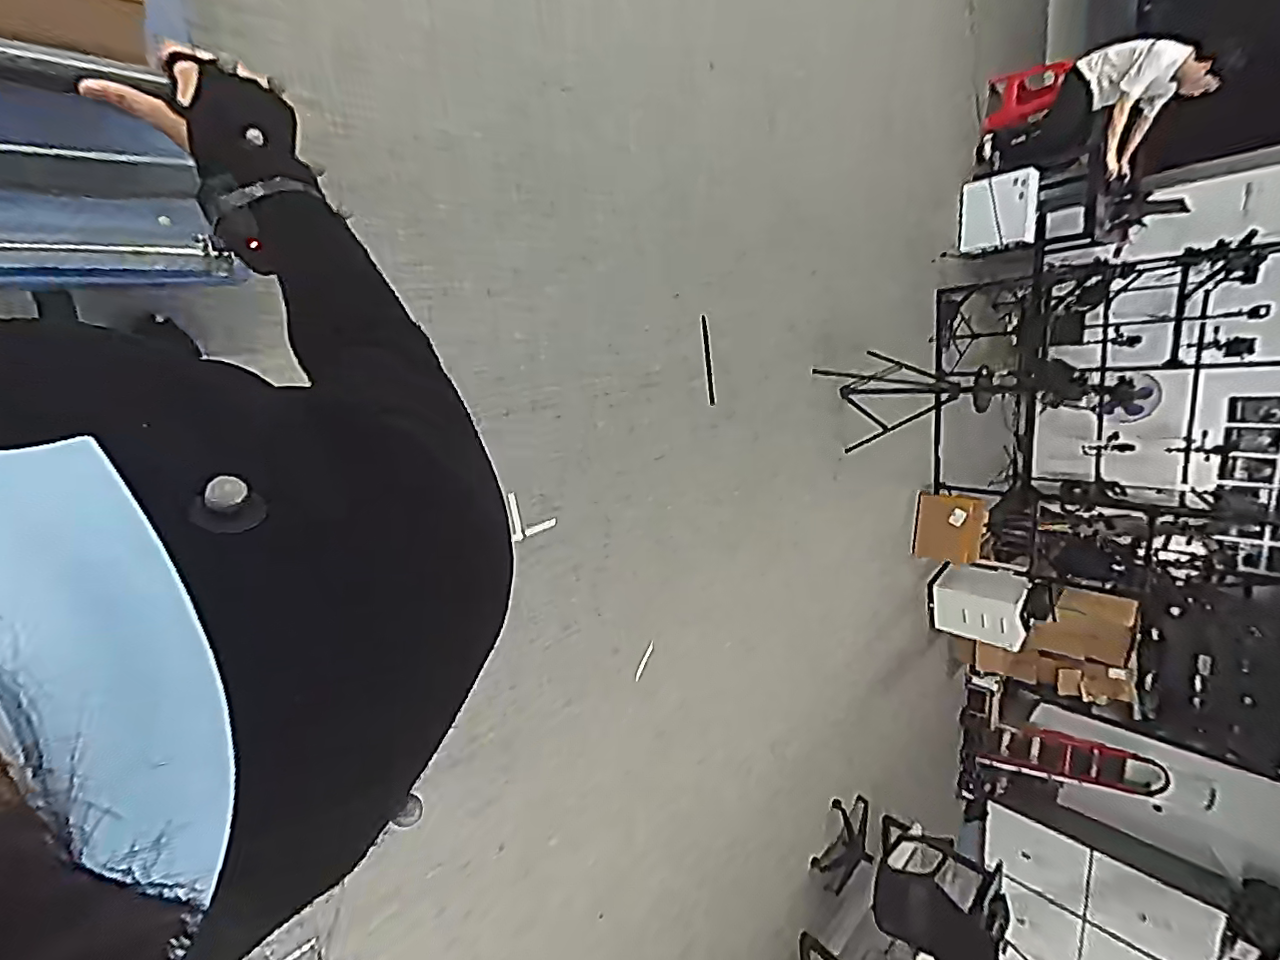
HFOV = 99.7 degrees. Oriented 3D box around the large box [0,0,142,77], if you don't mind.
[{"bbox_3d":[-0.907,-0.761,0.648,0.408,0.320,0.320,-15,106,-39],"label":"large box"}]
